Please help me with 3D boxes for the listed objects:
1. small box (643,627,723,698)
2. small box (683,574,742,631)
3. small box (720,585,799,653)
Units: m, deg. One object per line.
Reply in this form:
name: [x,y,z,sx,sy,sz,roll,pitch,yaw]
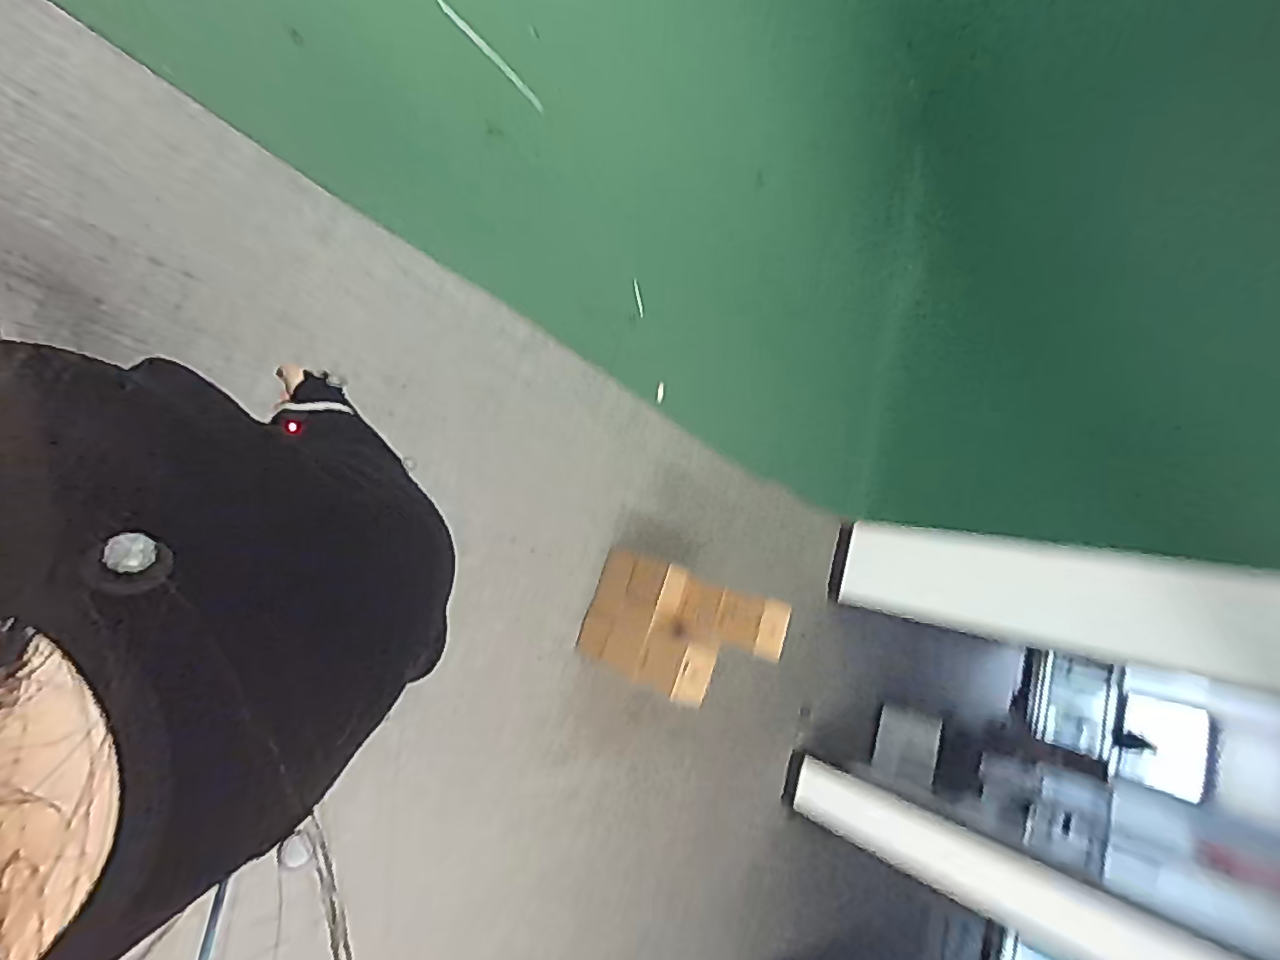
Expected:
small box: [0.141,0.598,1.780,0.179,0.176,0.168,34,71,-43]
small box: [0.277,0.438,1.904,0.179,0.176,0.168,31,72,-44]
small box: [0.394,0.456,1.790,0.179,0.176,0.168,30,73,-41]
